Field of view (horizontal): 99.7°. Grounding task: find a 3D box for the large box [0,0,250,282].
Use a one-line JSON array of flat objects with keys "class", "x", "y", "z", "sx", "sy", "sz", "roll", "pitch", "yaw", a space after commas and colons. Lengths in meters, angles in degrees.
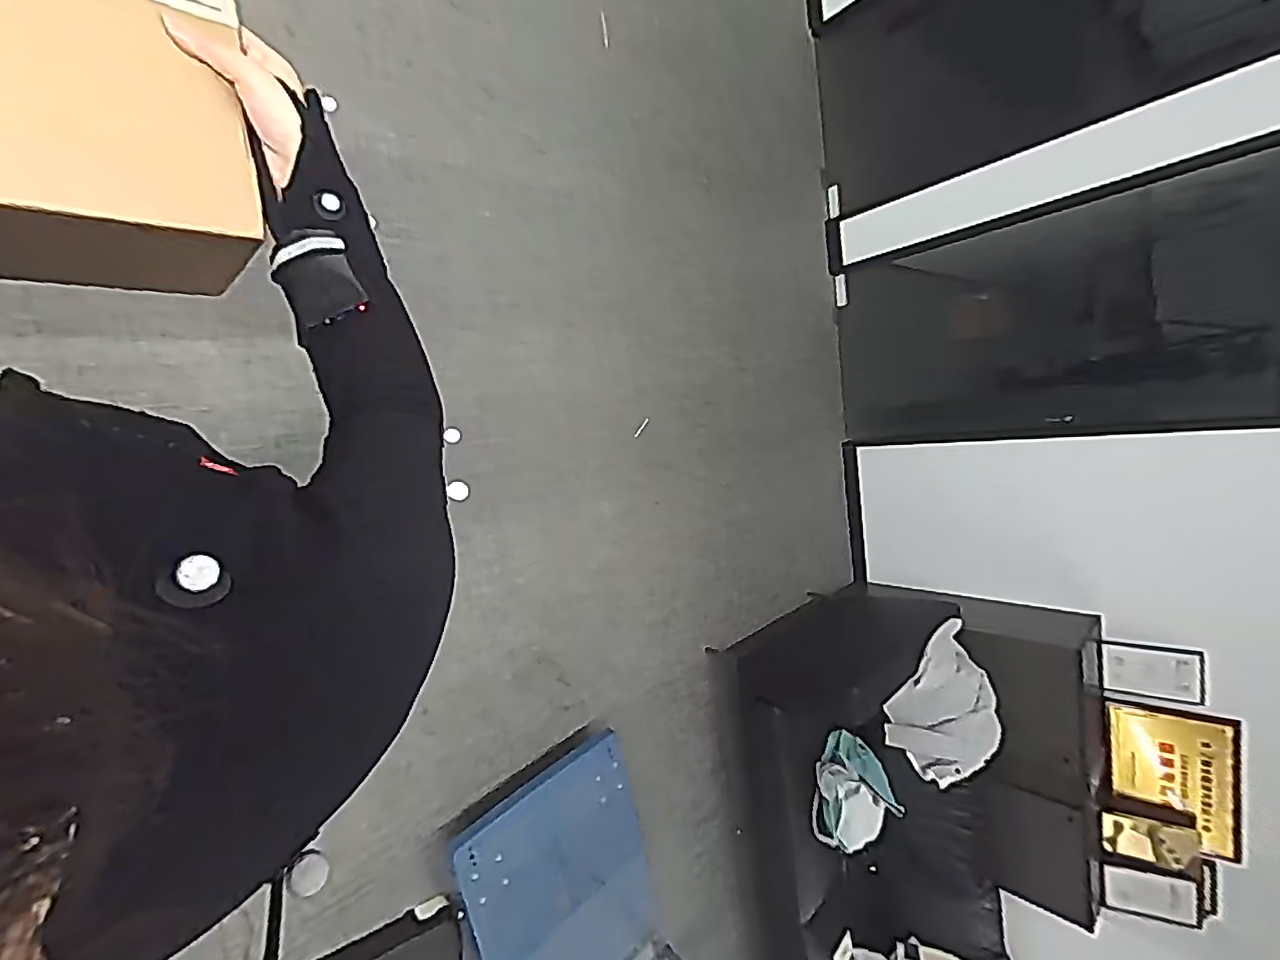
[{"class": "large box", "x": -0.562, "y": -0.336, "z": 0.387, "sx": 0.408, "sy": 0.320, "sz": 0.320, "roll": -10, "pitch": 103, "yaw": -41}]
